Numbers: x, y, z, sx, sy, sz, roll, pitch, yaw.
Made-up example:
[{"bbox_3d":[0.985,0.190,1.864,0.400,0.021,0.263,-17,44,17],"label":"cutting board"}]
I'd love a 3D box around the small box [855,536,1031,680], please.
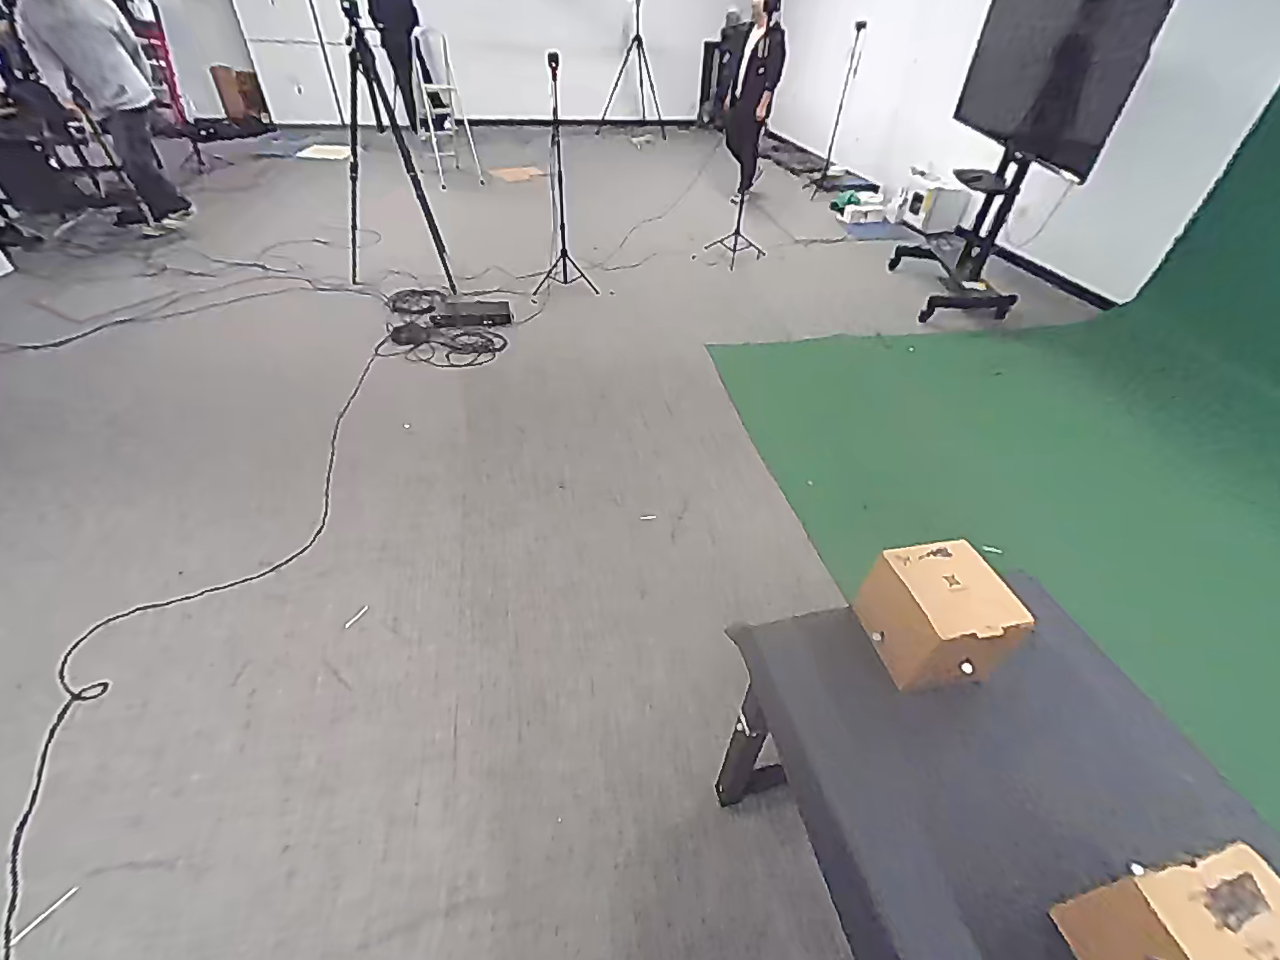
[{"bbox_3d":[0.497,0.222,0.919,0.168,0.176,0.179,-6,44,-10],"label":"small box"}]

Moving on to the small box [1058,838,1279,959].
[{"bbox_3d":[0.619,0.527,0.586,0.168,0.176,0.179,-7,44,-10],"label":"small box"}]
